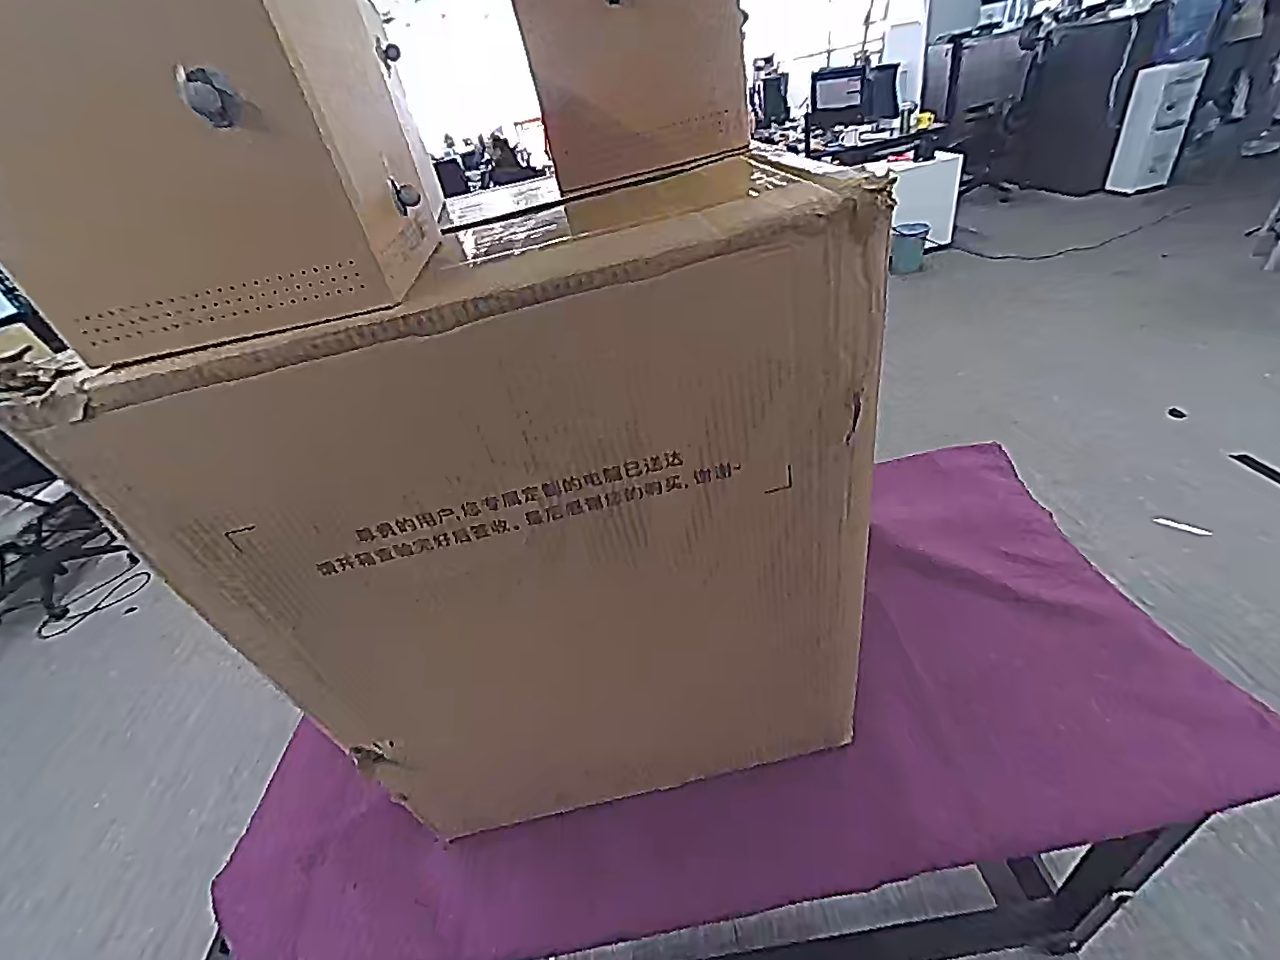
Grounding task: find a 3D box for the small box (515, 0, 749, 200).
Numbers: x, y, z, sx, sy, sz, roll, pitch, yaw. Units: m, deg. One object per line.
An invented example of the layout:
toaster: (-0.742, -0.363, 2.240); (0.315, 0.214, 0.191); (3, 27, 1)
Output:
small box: (-0.001, -0.379, 0.496); (0.179, 0.176, 0.168); (-11, 36, 5)
